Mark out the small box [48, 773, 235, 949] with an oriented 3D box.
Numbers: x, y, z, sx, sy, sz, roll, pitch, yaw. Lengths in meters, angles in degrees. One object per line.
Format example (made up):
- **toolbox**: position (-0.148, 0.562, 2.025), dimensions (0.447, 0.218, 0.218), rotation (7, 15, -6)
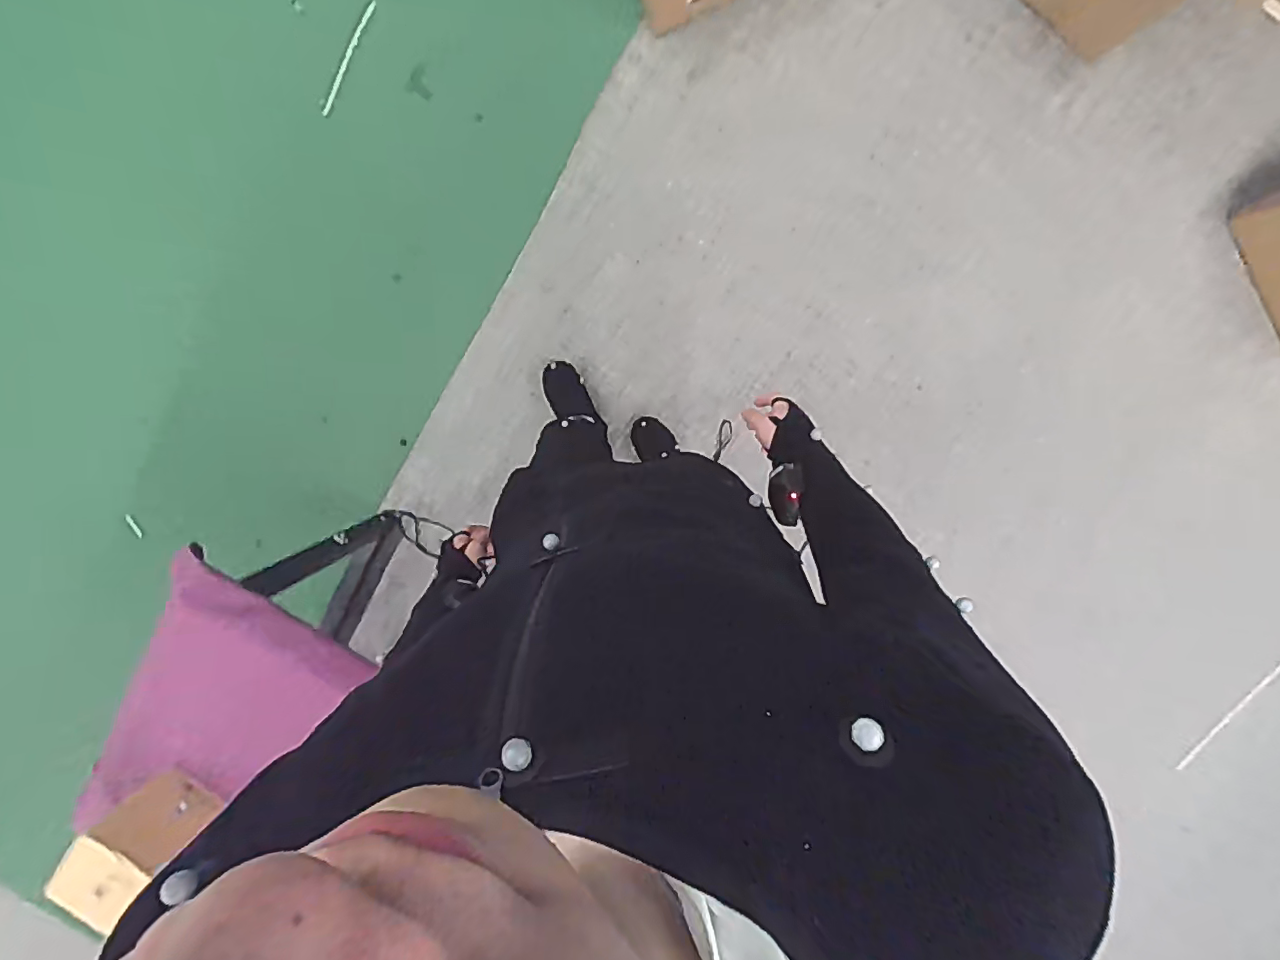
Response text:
- **small box**: position (-0.922, 0.705, 1.017), dimensions (0.168, 0.176, 0.179), rotation (37, 101, -5)
